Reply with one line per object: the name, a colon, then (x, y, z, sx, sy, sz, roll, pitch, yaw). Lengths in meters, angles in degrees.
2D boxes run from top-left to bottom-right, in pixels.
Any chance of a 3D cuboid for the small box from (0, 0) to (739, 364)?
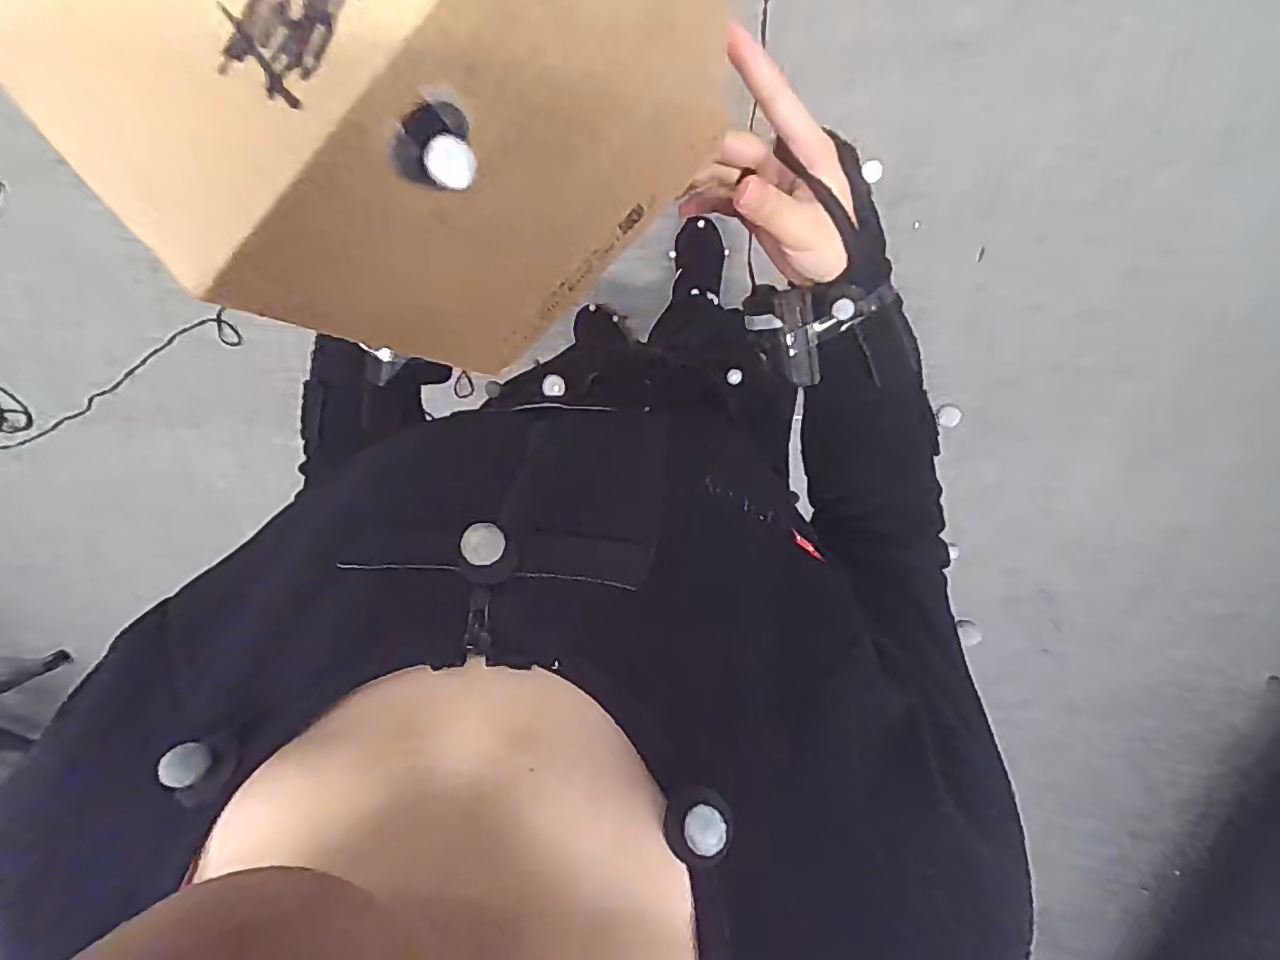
small box: (-0.079, -0.165, 0.207, 0.168, 0.176, 0.179, -44, 86, 11)
